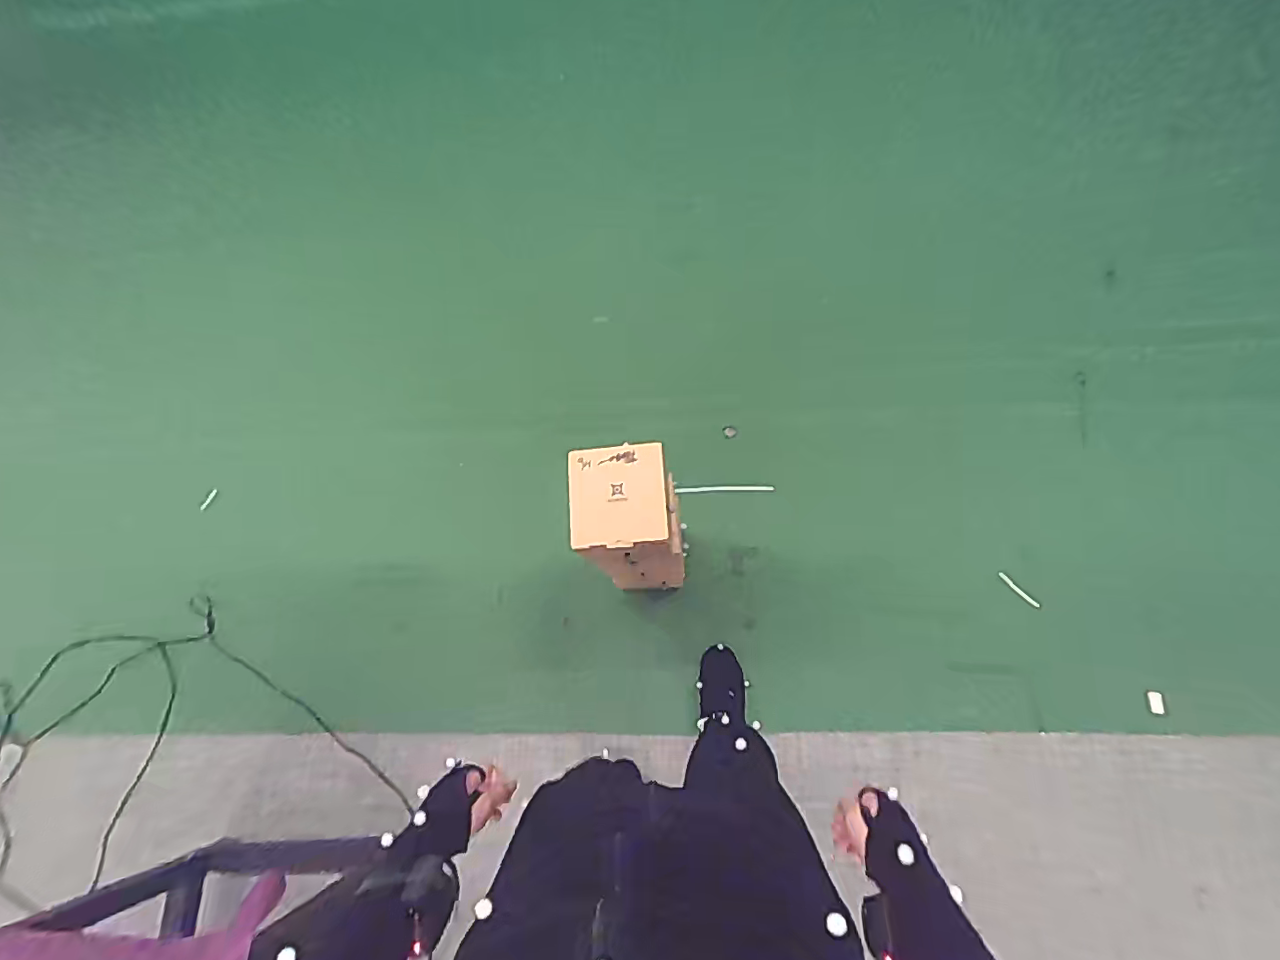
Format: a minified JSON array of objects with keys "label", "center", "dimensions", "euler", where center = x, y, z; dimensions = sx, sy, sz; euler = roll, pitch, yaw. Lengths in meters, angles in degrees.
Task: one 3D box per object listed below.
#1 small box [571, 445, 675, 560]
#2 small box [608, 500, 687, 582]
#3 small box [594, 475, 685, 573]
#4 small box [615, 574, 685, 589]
[{"label":"small box","center":[-0.026,0.050,0.987],"dimensions":[0.168,0.176,0.179],"euler":[-5,73,5]},{"label":"small box","center":[0.020,0.149,1.296],"dimensions":[0.179,0.176,0.168],"euler":[-5,72,6]},{"label":"small box","center":[-0.001,0.099,1.141],"dimensions":[0.179,0.176,0.168],"euler":[-6,73,4]},{"label":"small box","center":[0.032,0.201,1.449],"dimensions":[0.179,0.176,0.168],"euler":[-3,72,6]}]
